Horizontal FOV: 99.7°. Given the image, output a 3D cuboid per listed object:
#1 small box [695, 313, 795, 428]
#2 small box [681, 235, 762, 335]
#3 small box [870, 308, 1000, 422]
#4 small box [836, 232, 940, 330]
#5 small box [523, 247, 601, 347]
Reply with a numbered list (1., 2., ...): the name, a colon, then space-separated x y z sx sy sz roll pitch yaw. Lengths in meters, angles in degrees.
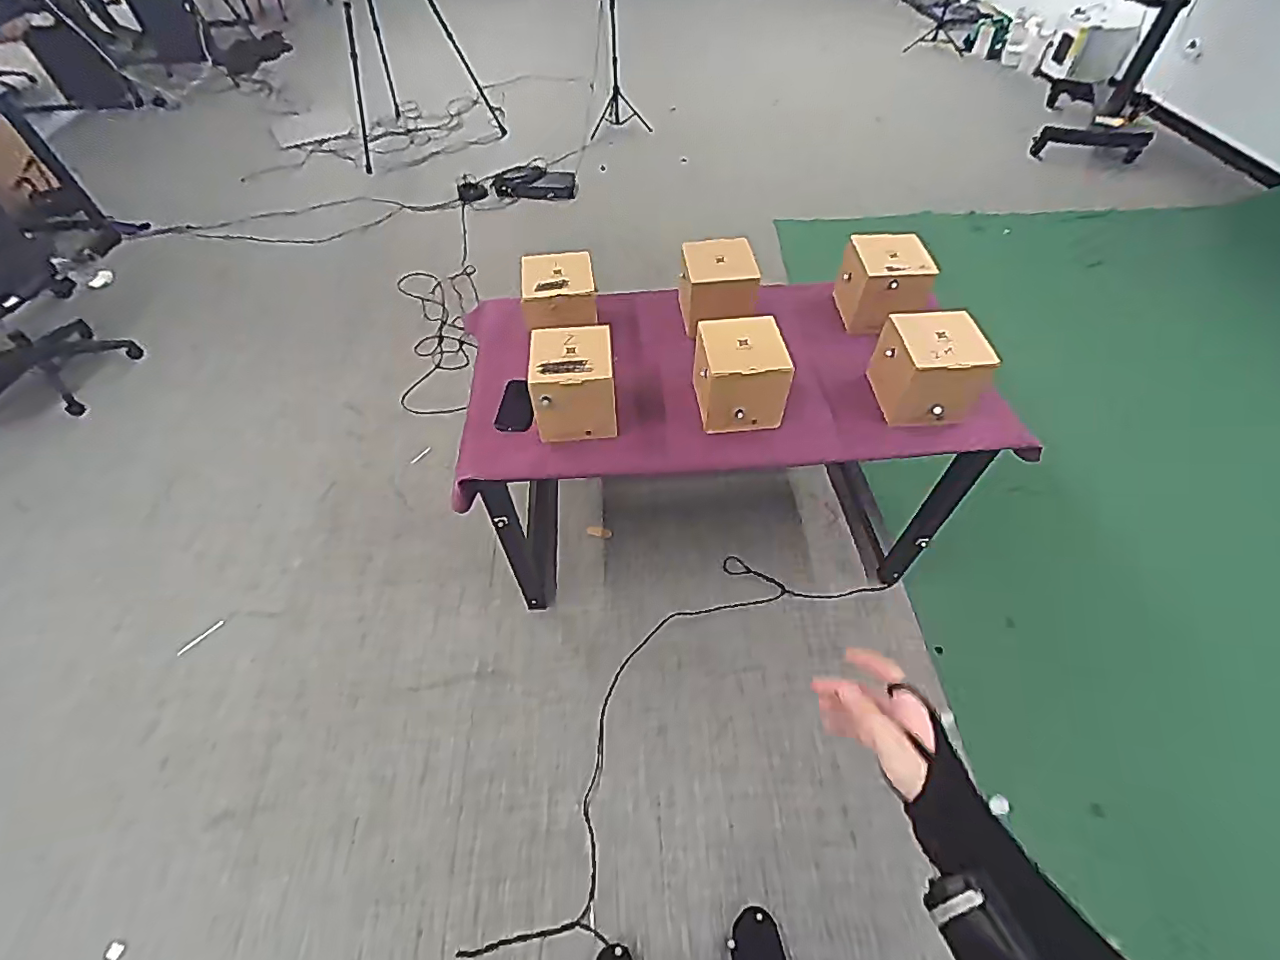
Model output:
1. small box: 0.215 -0.235 1.164 0.168 0.176 0.179 -5 53 -3
2. small box: 0.196 -0.488 1.356 0.168 0.176 0.179 -4 54 -1
3. small box: 0.616 -0.244 1.158 0.168 0.176 0.179 -2 53 1
4. small box: 0.607 -0.496 1.352 0.168 0.176 0.179 -2 53 1
5. small box: -0.189 -0.442 1.326 0.168 0.176 0.179 -6 53 -4
